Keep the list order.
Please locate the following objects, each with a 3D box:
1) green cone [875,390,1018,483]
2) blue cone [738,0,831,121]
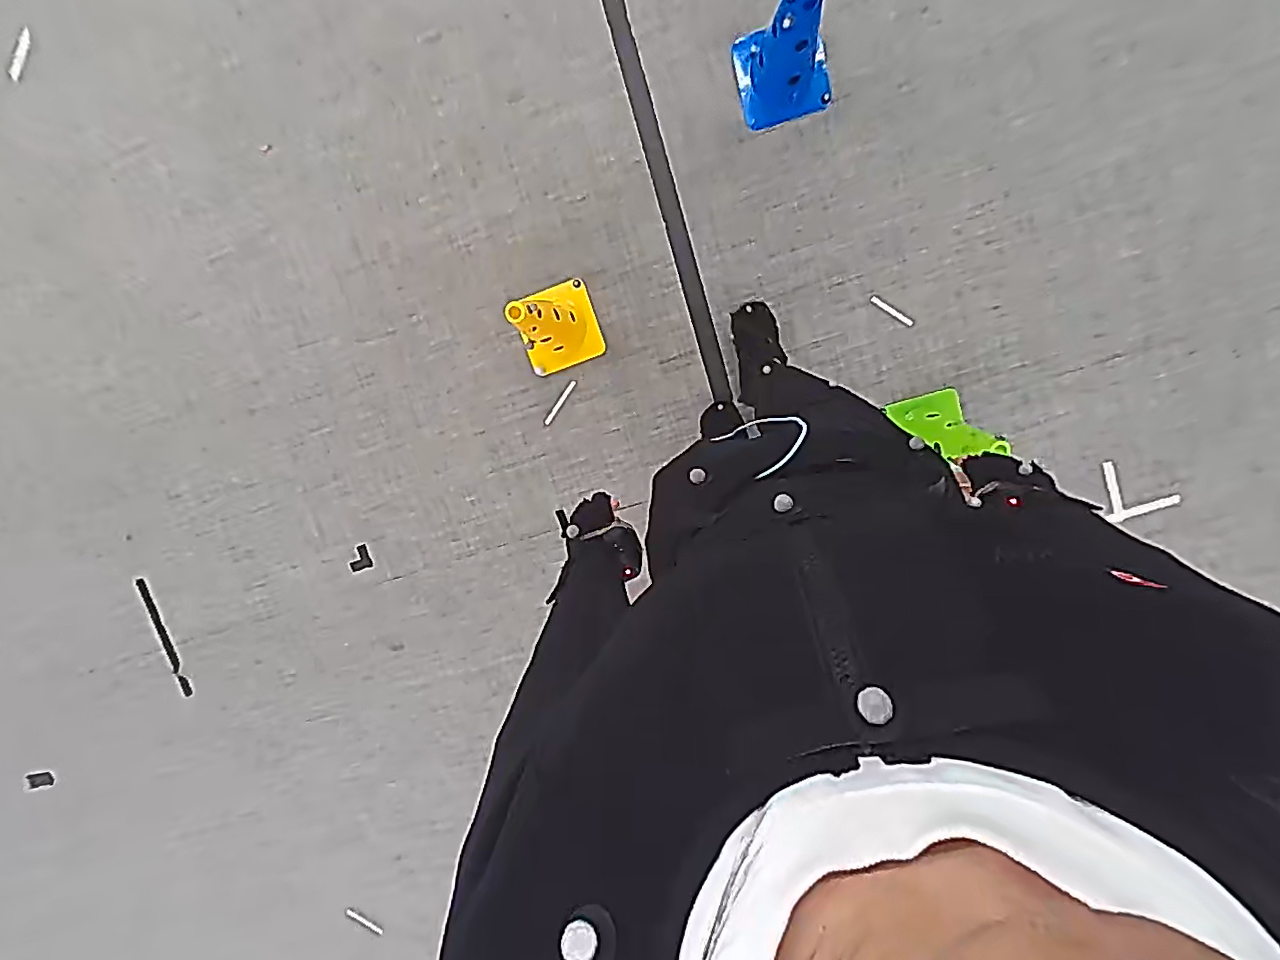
[{"bbox_3d":[0.690,-0.077,1.178,0.202,0.368,0.200,-16,98,7],"label":"green cone"},{"bbox_3d":[0.317,-0.912,1.081,0.192,0.380,0.193,-12,99,7],"label":"blue cone"}]
